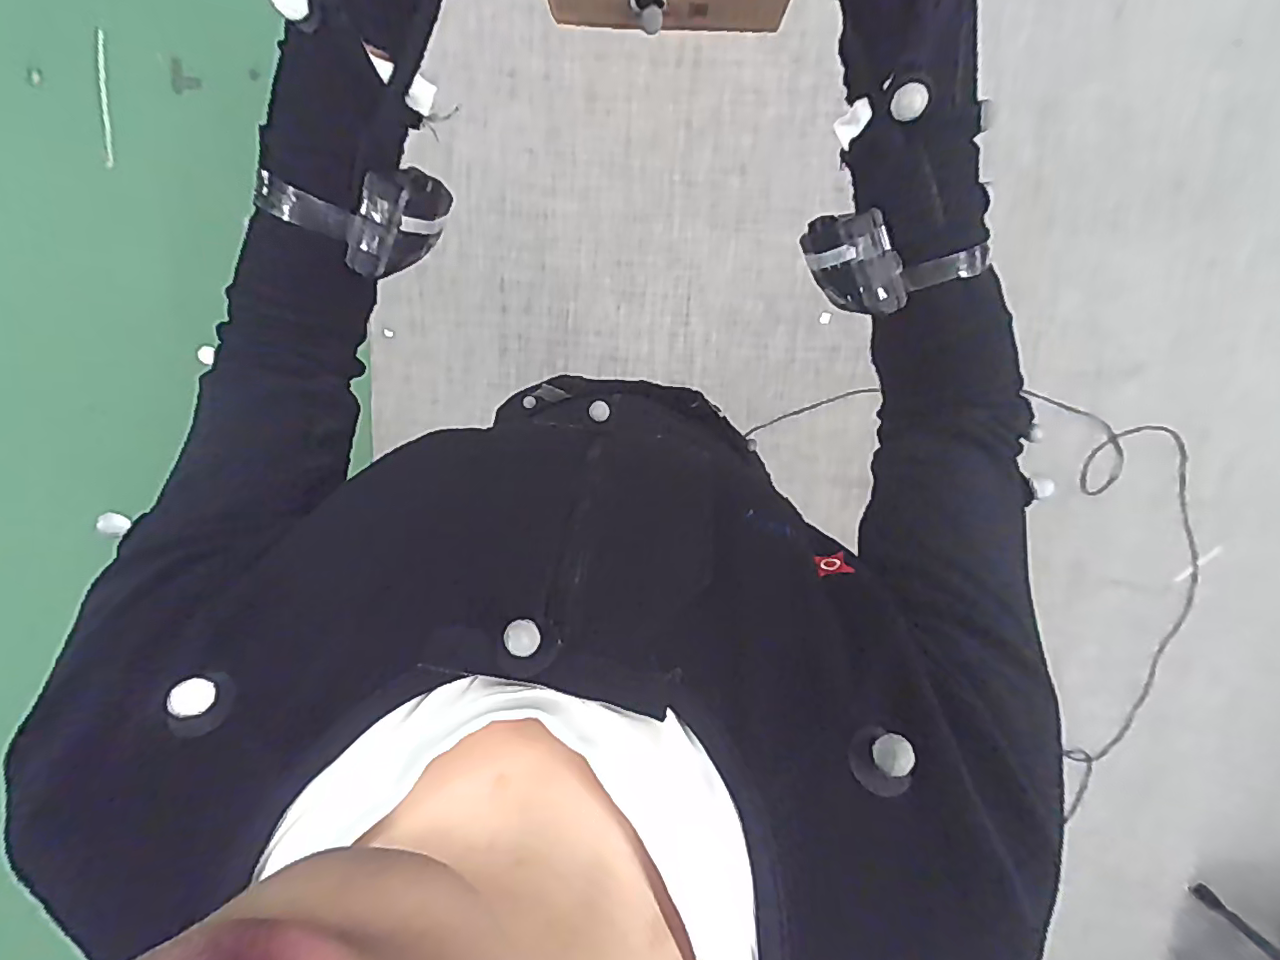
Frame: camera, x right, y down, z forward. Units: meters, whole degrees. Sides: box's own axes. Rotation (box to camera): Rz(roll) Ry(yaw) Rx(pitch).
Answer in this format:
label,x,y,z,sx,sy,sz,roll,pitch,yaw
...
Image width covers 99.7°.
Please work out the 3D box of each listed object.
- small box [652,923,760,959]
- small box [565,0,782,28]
label,x,y,z,sx,sy,sz,roll,pitch,yaw
small box,0.100,0.798,0.794,0.168,0.176,0.179,-1,102,3
small box,0.022,-0.398,0.295,0.168,0.176,0.179,2,104,1
